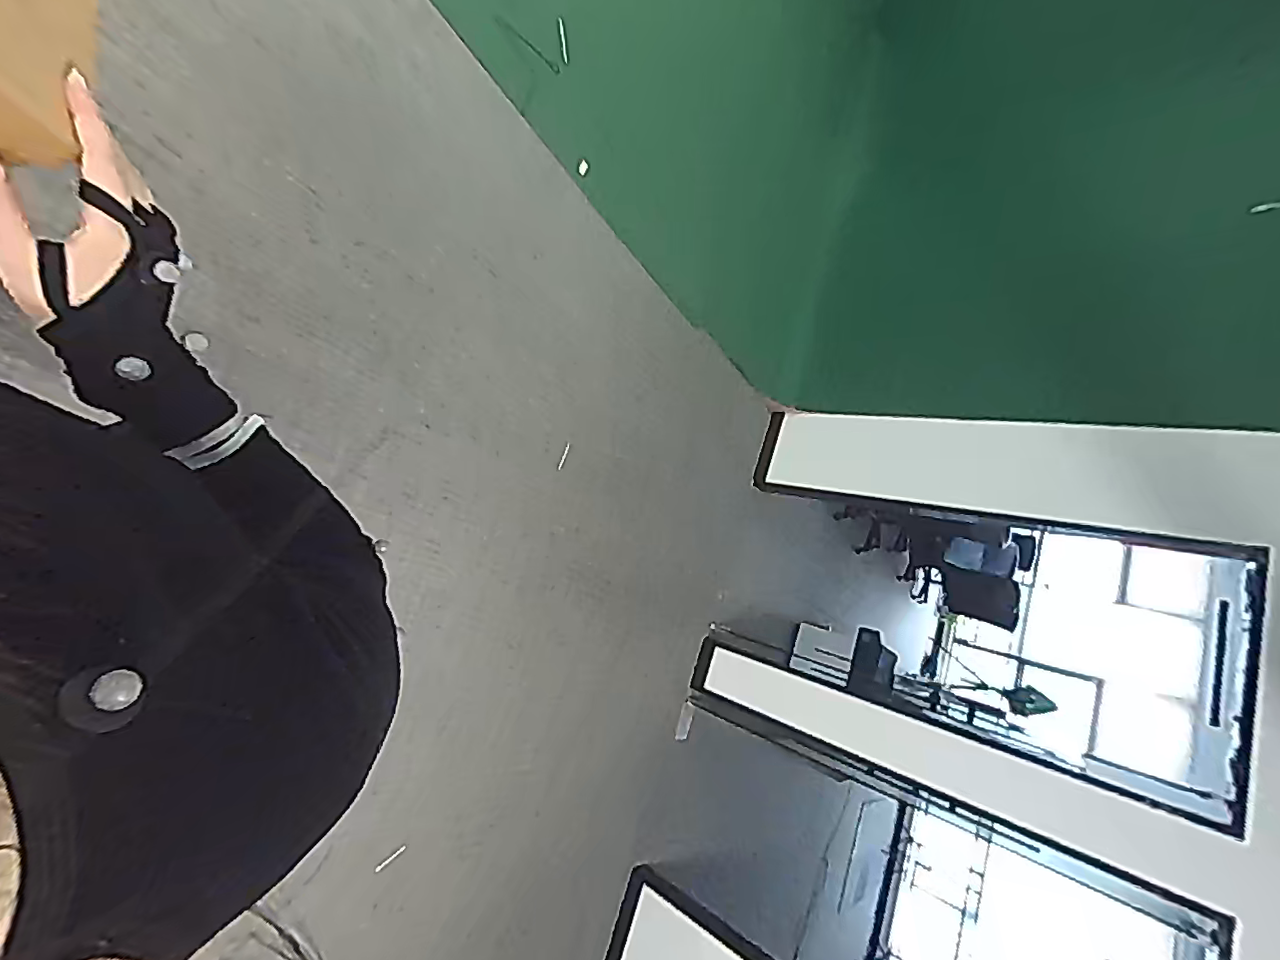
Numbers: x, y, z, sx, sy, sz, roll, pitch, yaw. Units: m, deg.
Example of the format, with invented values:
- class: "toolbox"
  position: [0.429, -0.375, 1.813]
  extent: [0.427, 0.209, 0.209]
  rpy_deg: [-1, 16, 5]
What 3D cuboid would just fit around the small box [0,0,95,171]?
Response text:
- class: "small box"
  position: [-0.406, -0.264, 0.237]
  extent: [0.179, 0.168, 0.176]
  rpy_deg: [-8, 81, -4]
